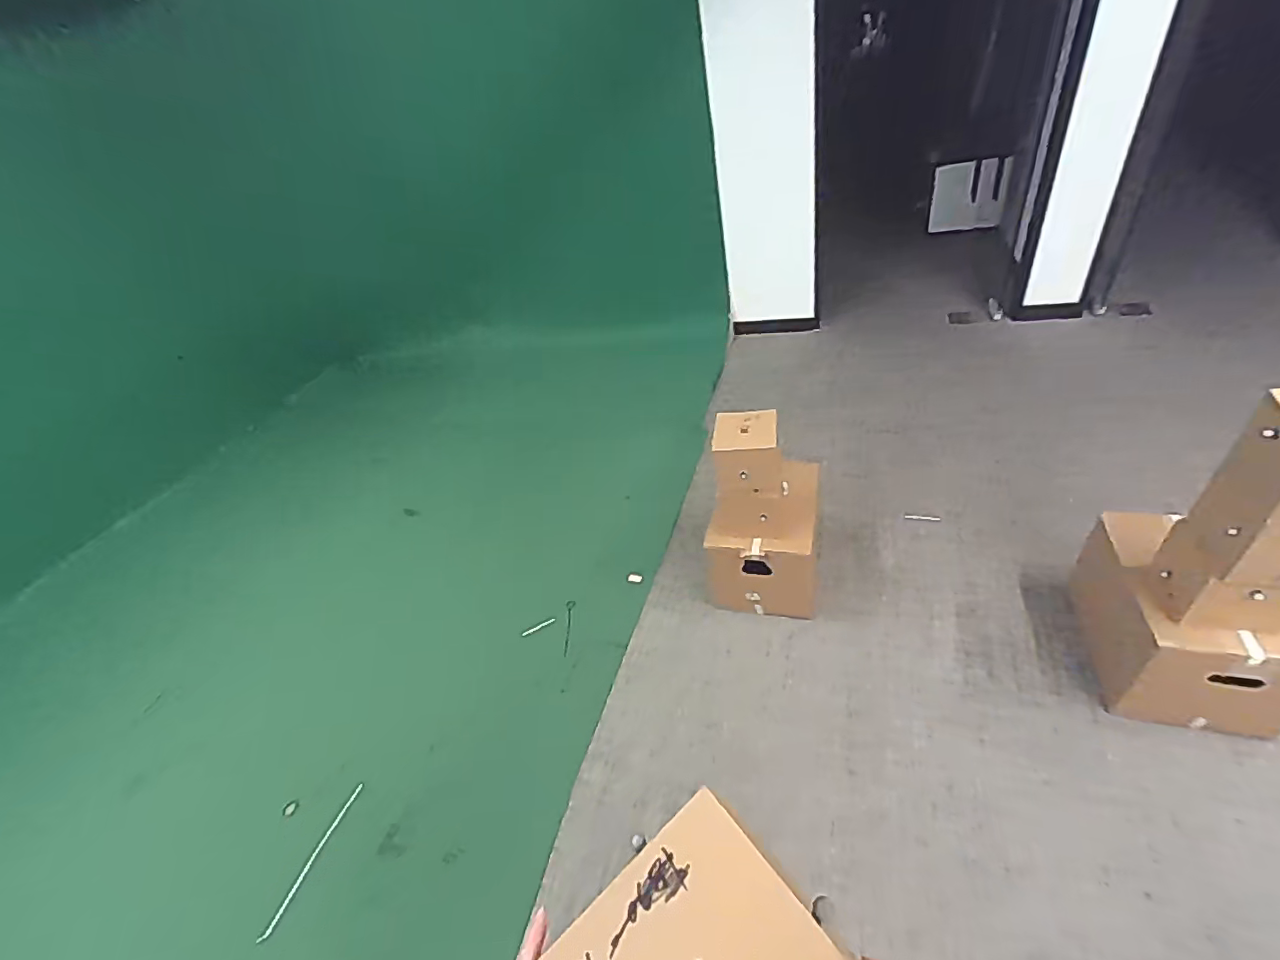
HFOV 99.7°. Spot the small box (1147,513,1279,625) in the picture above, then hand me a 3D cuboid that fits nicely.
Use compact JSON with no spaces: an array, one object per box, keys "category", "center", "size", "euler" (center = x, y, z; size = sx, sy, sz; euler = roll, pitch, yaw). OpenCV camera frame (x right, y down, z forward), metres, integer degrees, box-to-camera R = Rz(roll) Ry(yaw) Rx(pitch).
[{"category":"small box","center":[1.236,0.188,1.141],"size":[0.179,0.176,0.168],"euler":[0,43,20]}]

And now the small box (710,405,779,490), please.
[{"category":"small box","center":[0.294,-0.085,1.492],"size":[0.168,0.176,0.179],"euler":[-1,41,16]}]

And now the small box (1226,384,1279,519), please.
[{"category":"small box","center":[1.168,-0.045,0.919],"size":[0.168,0.176,0.179],"euler":[3,45,22]}]

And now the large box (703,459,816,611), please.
[{"category":"large box","center":[0.413,0.176,1.791],"size":[0.320,0.320,0.408],"euler":[2,42,20]}]

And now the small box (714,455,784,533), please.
[{"category":"small box","center":[0.327,0.041,1.593],"size":[0.179,0.176,0.168],"euler":[1,41,20]}]

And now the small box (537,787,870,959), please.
[{"category":"small box","center":[0.063,0.356,0.390],"size":[0.168,0.176,0.179],"euler":[-40,56,-12]}]
